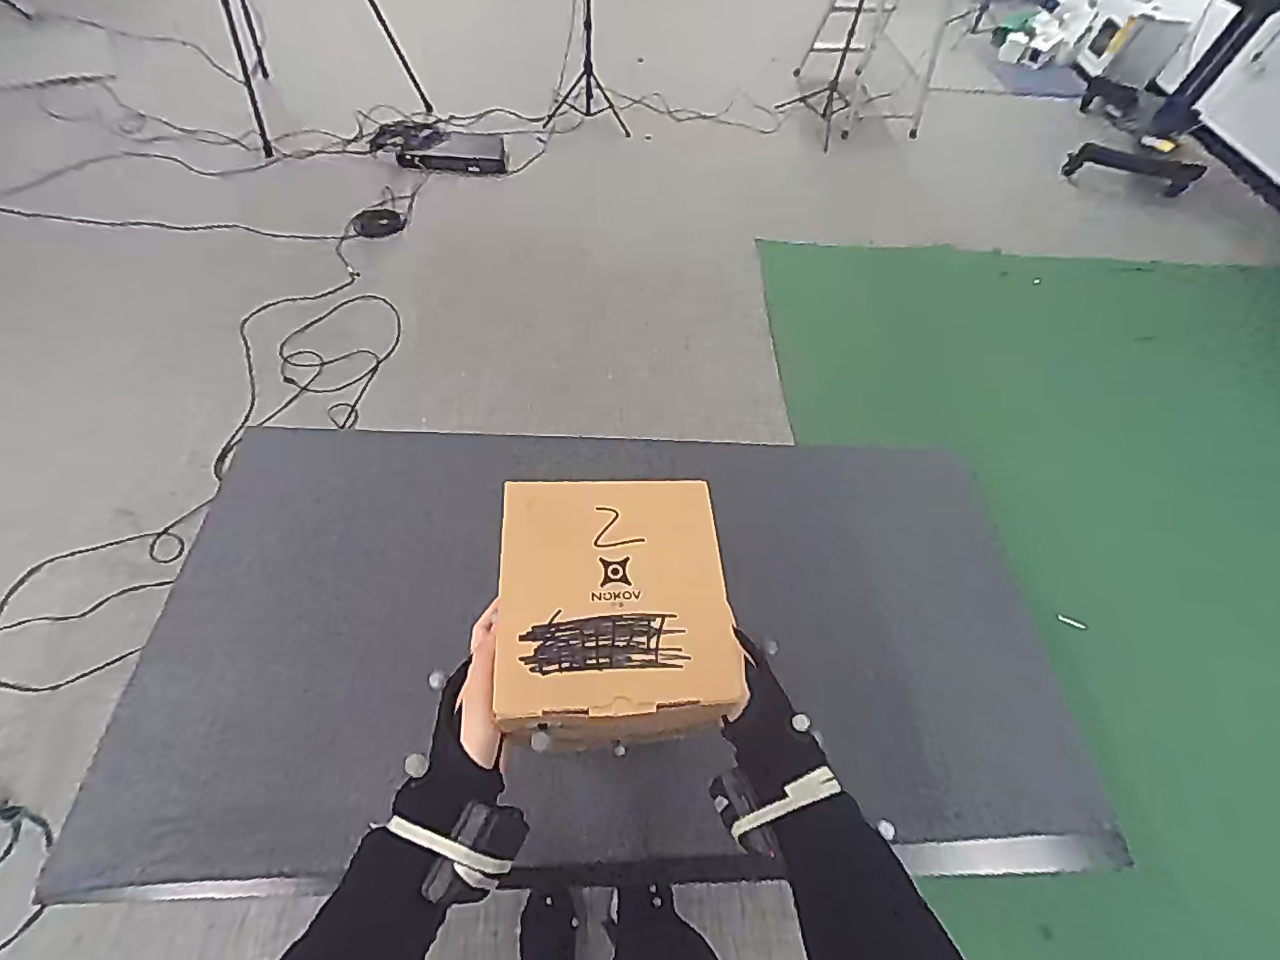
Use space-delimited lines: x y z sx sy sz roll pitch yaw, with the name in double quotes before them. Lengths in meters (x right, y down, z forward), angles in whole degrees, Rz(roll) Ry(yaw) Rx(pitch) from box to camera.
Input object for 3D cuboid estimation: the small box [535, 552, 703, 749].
"small box" -0.032 0.201 0.632 0.168 0.176 0.179 -2 57 -7
